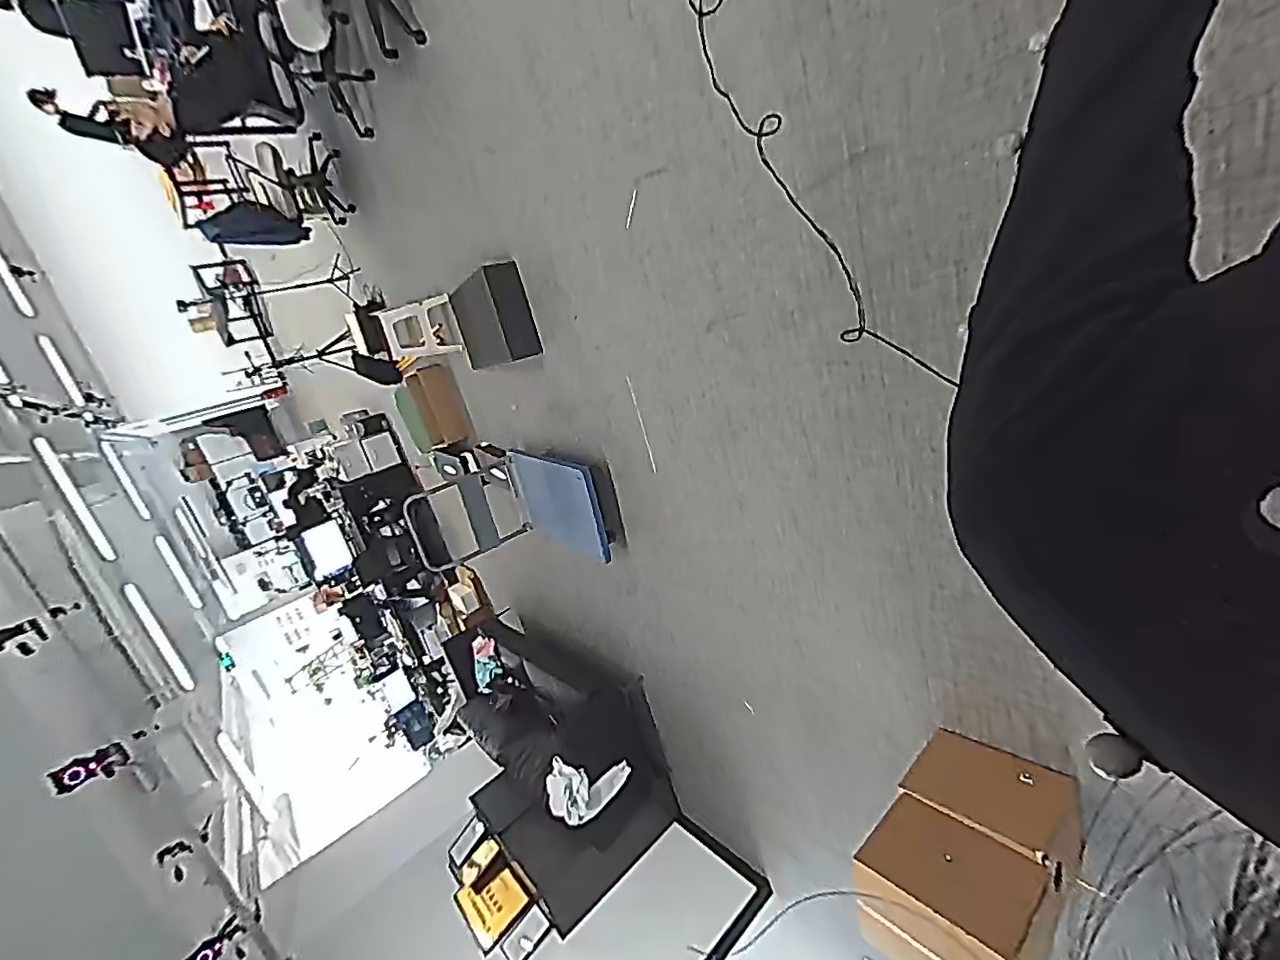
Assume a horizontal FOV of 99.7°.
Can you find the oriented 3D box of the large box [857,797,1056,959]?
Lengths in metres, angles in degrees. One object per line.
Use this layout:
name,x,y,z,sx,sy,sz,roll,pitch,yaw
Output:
large box,0.890,1.207,1.528,0.408,0.320,0.320,6,112,51
